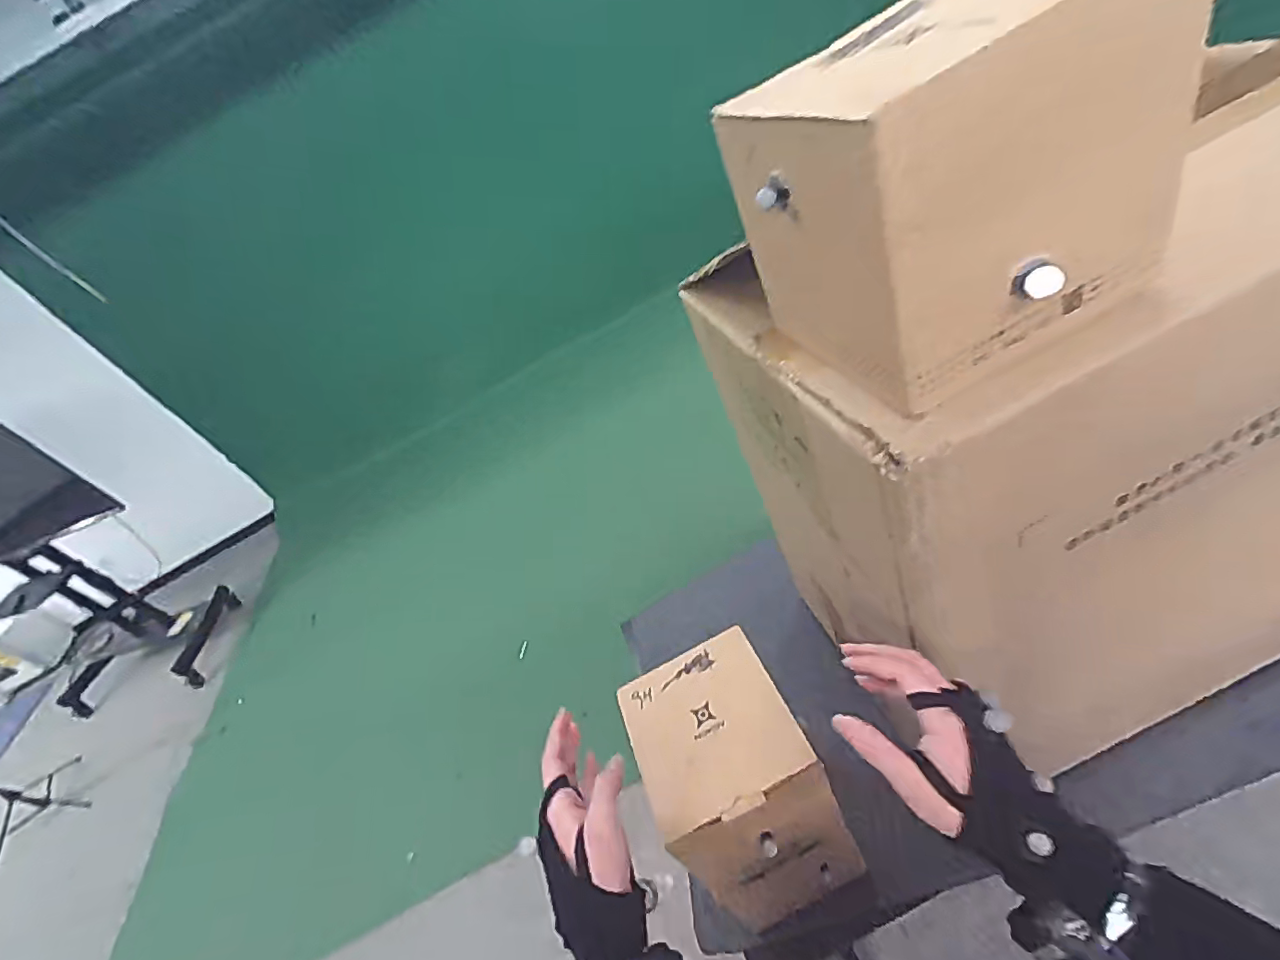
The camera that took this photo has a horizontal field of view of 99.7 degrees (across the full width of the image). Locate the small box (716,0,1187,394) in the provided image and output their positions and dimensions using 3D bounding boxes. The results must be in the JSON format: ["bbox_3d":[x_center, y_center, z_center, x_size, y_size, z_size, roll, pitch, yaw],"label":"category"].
[{"bbox_3d":[0.175,-0.183,0.347,0.168,0.176,0.179,-30,37,2],"label":"small box"}]

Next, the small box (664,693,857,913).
[{"bbox_3d":[0.158,0.427,0.710,0.168,0.176,0.179,-29,34,-2],"label":"small box"}]
